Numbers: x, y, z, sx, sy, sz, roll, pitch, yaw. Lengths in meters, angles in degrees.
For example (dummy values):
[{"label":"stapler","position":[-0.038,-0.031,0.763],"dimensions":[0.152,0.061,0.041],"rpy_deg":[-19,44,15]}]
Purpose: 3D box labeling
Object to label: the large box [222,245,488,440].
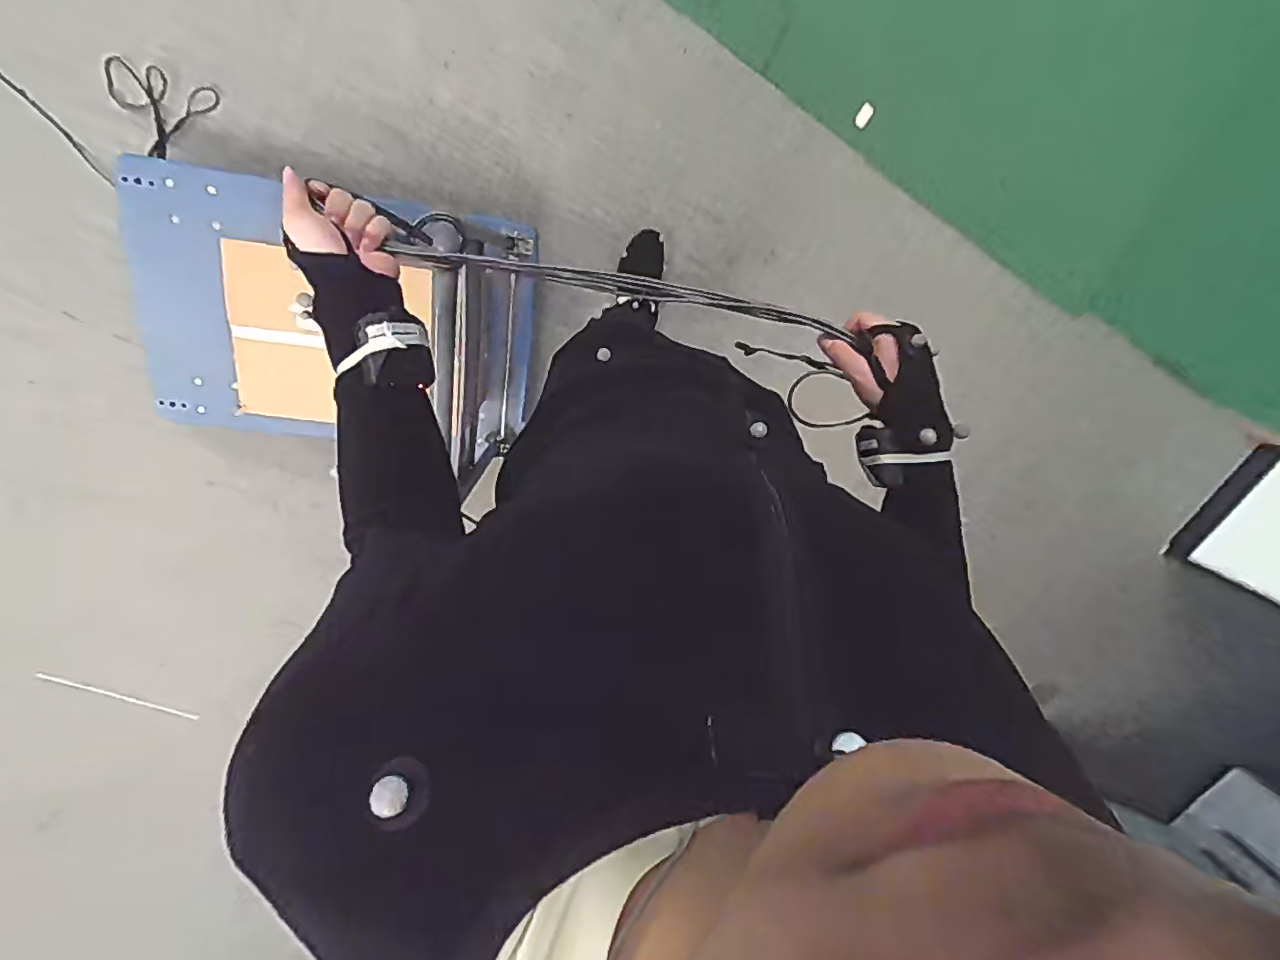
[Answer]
[{"label":"large box","position":[-0.551,-0.294,1.135],"dimensions":[0.408,0.320,0.320],"rpy_deg":[7,109,-7]}]
